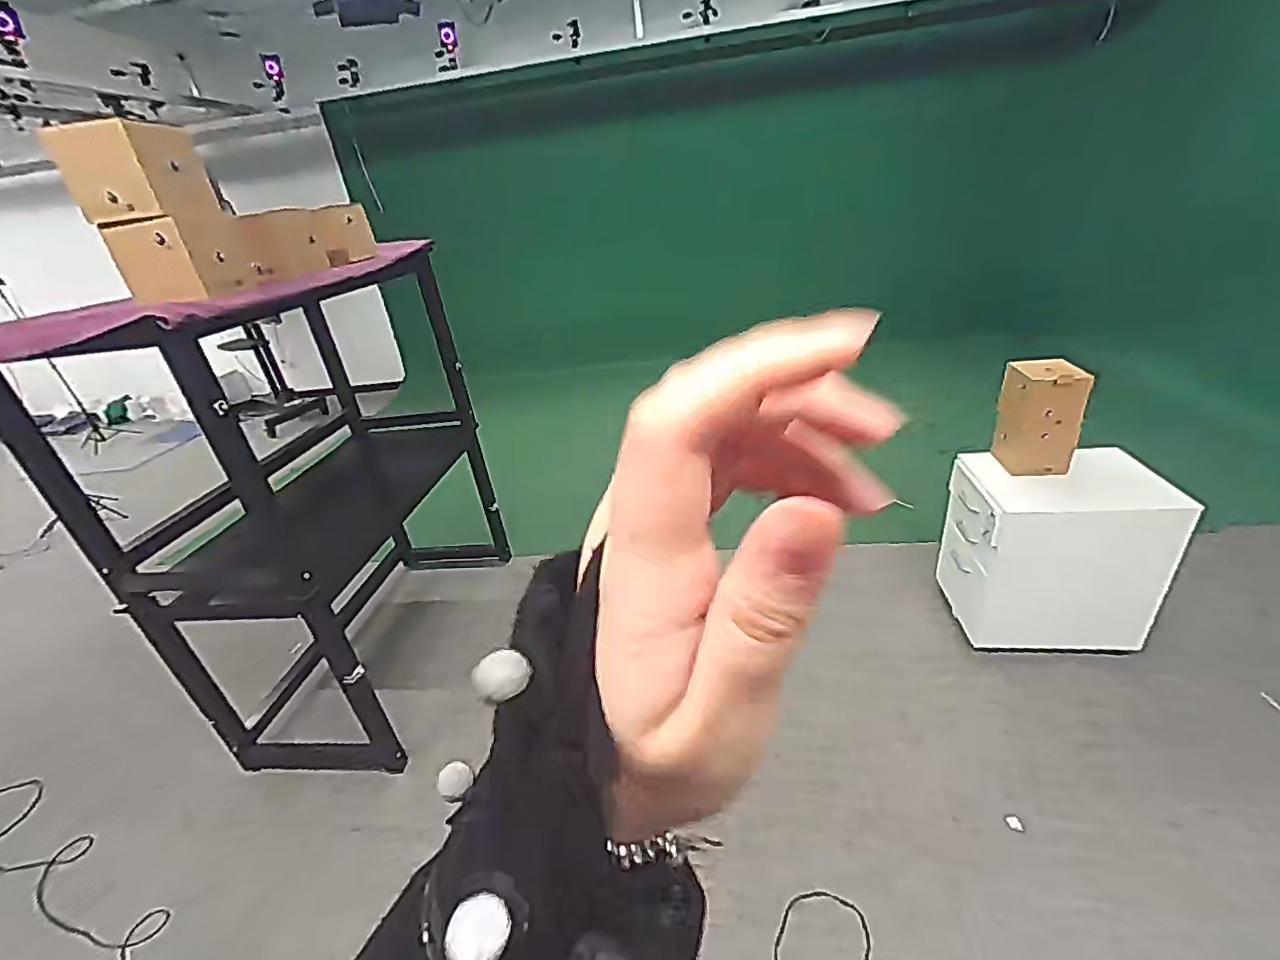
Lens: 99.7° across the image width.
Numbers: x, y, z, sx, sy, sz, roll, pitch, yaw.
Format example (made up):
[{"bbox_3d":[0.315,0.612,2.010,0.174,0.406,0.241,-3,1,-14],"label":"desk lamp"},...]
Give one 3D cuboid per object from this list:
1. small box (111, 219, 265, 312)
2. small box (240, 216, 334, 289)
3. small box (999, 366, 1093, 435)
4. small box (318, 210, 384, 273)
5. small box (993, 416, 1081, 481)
[{"bbox_3d":[-1.001,-0.484,1.218,0.179,0.176,0.168,-4,26,6],"label":"small box"},{"bbox_3d":[-0.999,-0.640,1.523,0.168,0.176,0.179,-5,29,7],"label":"small box"},{"bbox_3d":[1.281,-0.254,1.722,0.168,0.176,0.179,-2,30,9],"label":"small box"},{"bbox_3d":[-0.994,-0.793,1.807,0.168,0.176,0.179,-5,28,11],"label":"small box"},{"bbox_3d":[1.305,-0.109,1.794,0.168,0.176,0.179,-2,28,10],"label":"small box"}]
